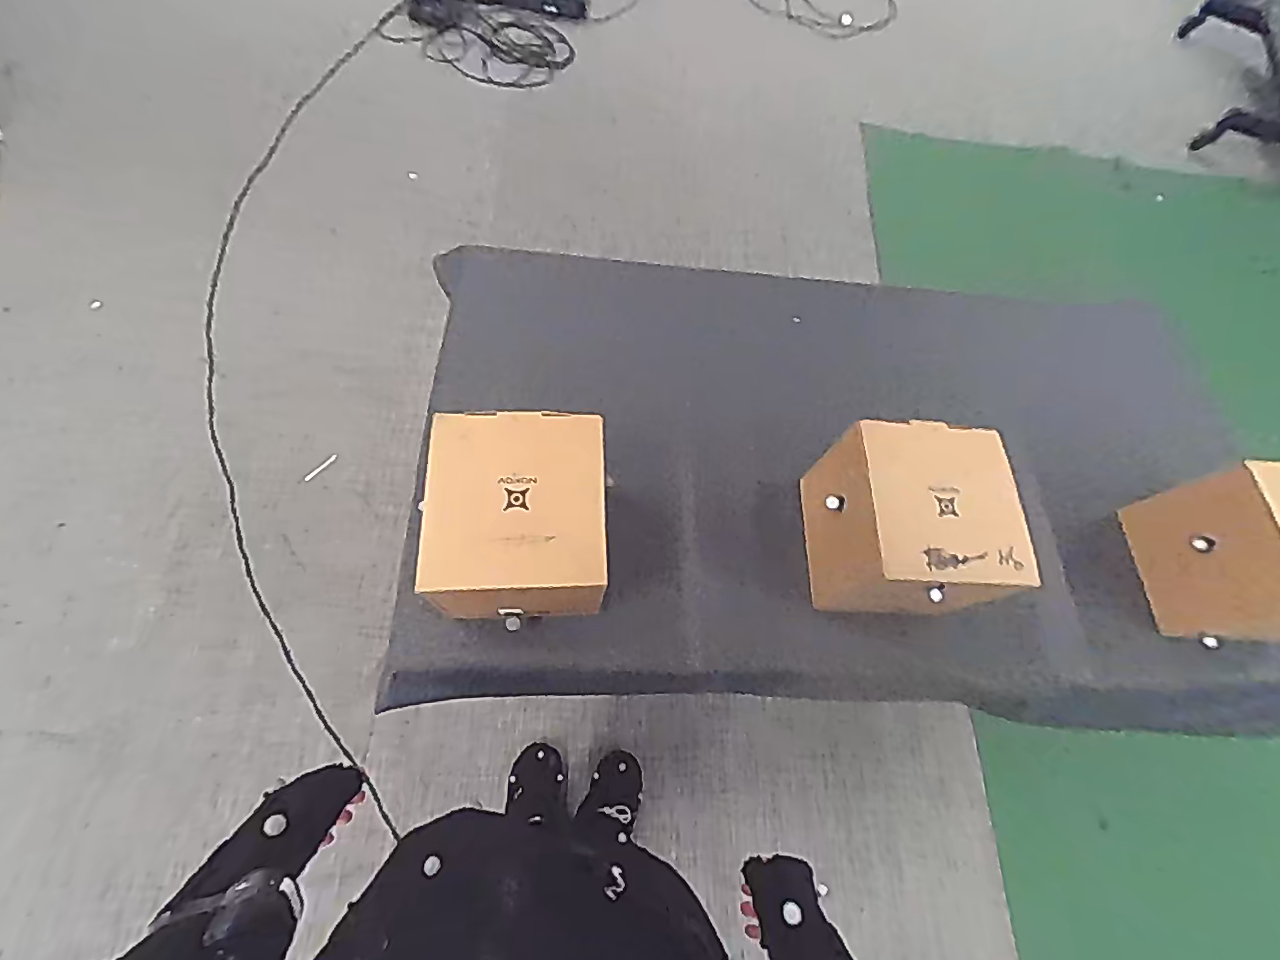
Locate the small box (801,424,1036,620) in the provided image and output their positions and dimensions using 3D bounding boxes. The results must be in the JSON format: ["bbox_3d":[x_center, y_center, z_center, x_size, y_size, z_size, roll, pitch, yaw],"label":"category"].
[{"bbox_3d":[0.300,0.057,0.629,0.168,0.176,0.179,4,65,-6],"label":"small box"}]

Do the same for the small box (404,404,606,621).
[{"bbox_3d":[-0.122,0.042,0.556,0.168,0.176,0.179,1,67,-5],"label":"small box"}]

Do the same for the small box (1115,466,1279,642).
[{"bbox_3d":[0.757,0.100,0.669,0.168,0.176,0.179,4,65,-6],"label":"small box"}]
